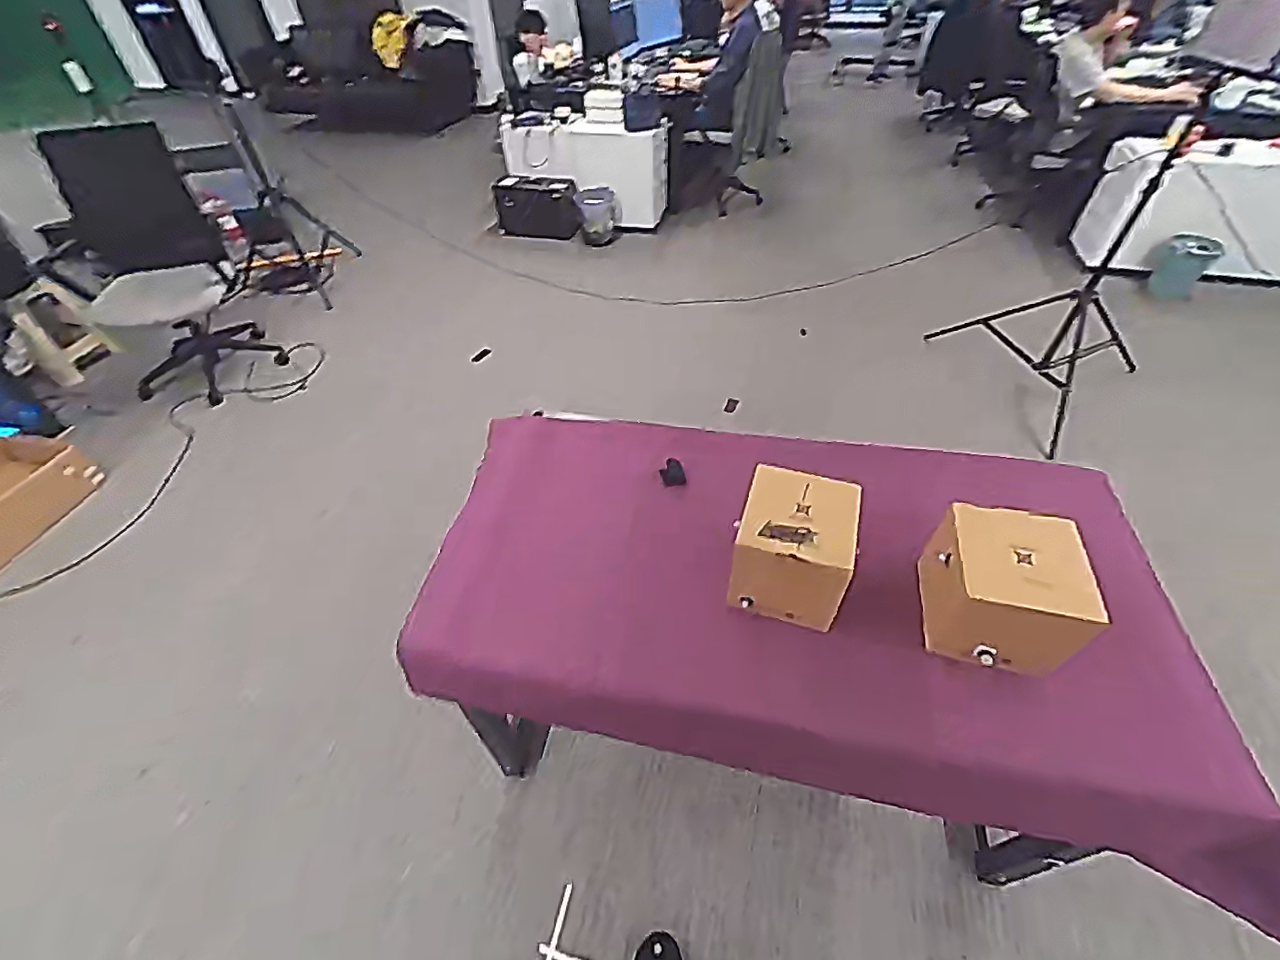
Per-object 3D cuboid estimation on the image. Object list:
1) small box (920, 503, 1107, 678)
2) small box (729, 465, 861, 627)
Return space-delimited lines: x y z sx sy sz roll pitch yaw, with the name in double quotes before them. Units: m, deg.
"small box" 0.534 0.164 0.808 0.168 0.176 0.179 9 47 13
"small box" 0.244 0.107 0.871 0.168 0.176 0.179 14 47 14
